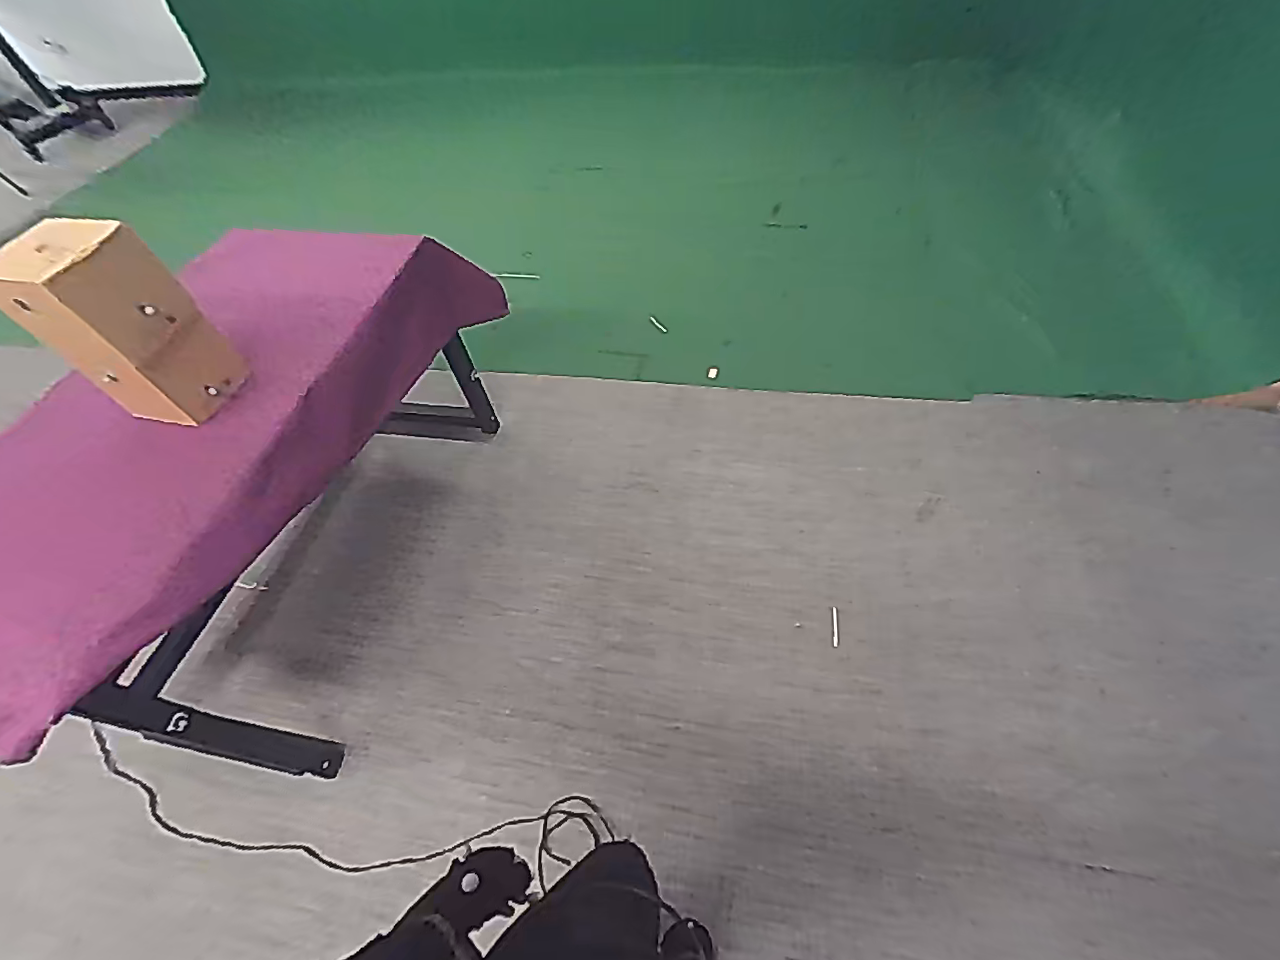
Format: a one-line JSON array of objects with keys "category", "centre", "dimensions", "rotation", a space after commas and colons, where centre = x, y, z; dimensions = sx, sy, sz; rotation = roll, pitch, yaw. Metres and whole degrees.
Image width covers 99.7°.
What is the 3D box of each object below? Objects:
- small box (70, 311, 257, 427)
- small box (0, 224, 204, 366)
[{"category": "small box", "centre": [-0.923, -0.224, 1.066], "dimensions": [0.179, 0.176, 0.168], "rotation": [10, 56, 13]}, {"category": "small box", "centre": [-0.924, -0.314, 0.928], "dimensions": [0.179, 0.176, 0.168], "rotation": [8, 57, 12]}]
